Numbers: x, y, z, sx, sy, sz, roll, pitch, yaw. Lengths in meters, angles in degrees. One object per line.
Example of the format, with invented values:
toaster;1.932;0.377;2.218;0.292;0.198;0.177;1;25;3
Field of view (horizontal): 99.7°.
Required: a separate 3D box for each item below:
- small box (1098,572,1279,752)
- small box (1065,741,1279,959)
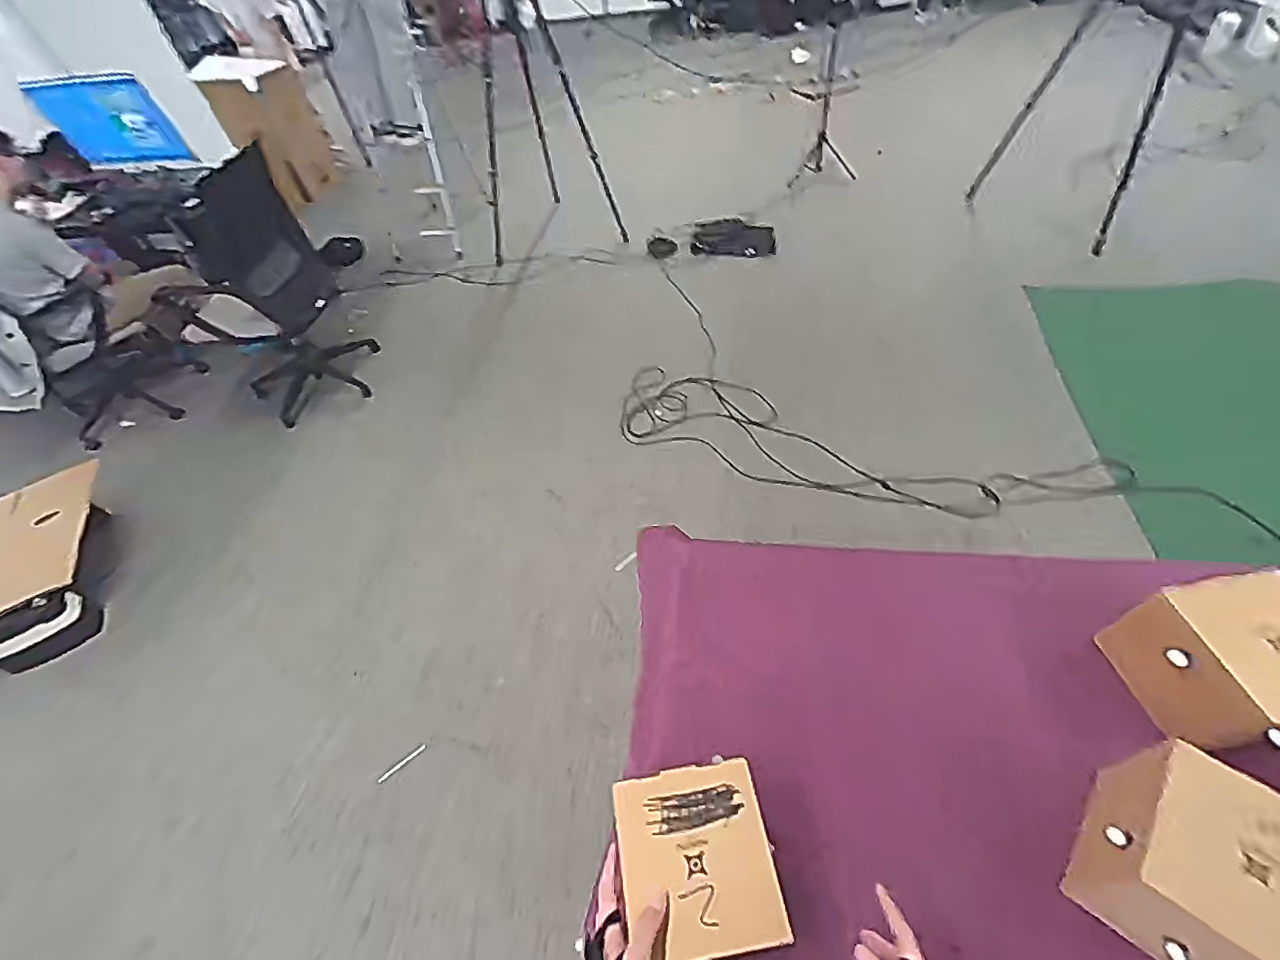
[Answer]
small box;0.793;0.252;0.731;0.168;0.176;0.179;-10;50;0
small box;0.618;0.435;0.598;0.168;0.176;0.179;31;60;28
